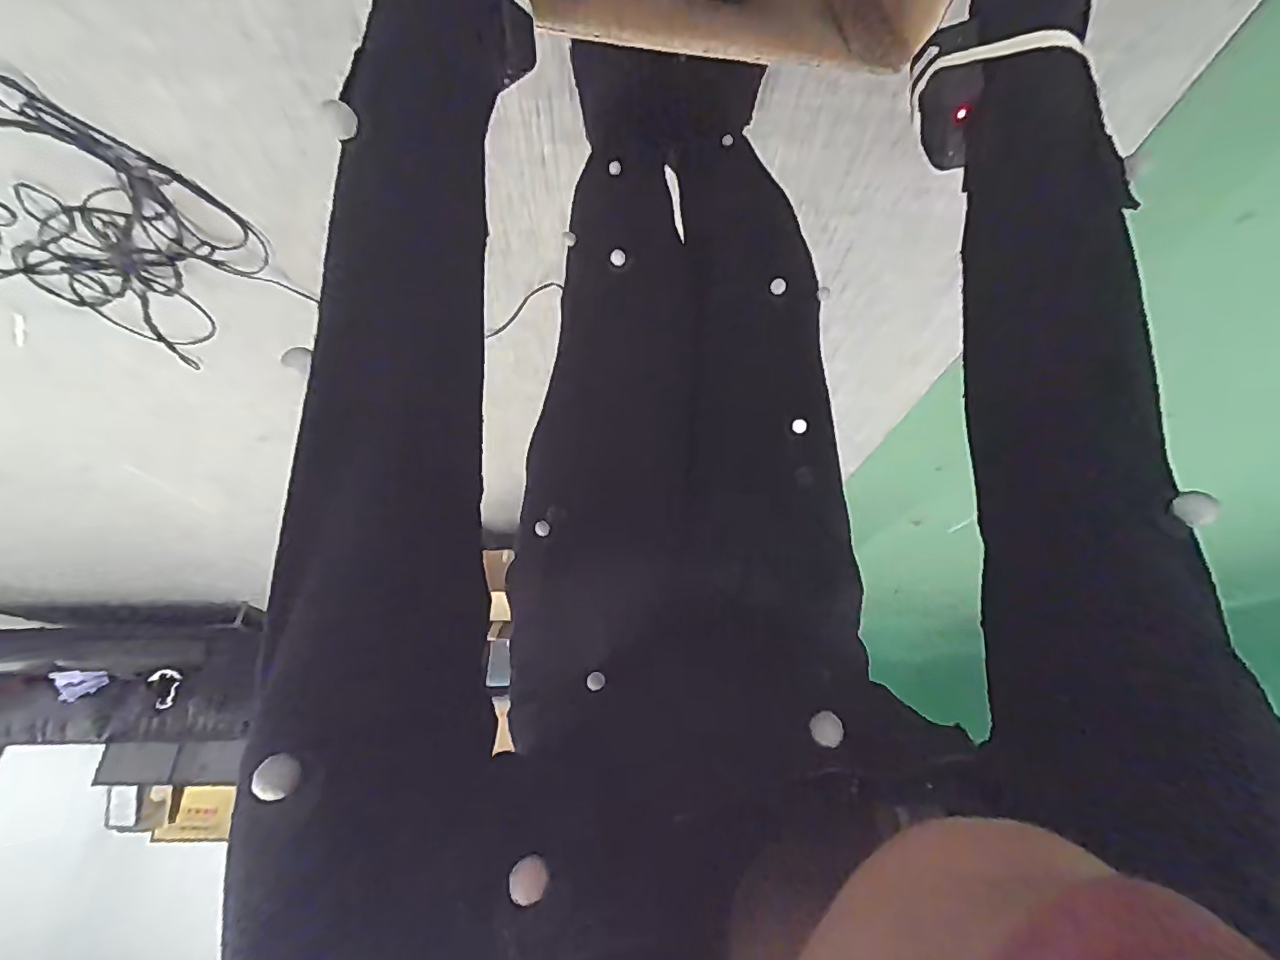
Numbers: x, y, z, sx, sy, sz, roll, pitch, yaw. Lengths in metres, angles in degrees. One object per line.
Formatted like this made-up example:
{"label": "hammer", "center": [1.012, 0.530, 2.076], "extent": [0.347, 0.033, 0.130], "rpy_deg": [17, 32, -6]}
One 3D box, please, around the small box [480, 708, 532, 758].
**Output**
{"label": "small box", "center": [-0.523, 0.999, 2.136], "extent": [0.168, 0.176, 0.179], "rpy_deg": [1, 153, -2]}
